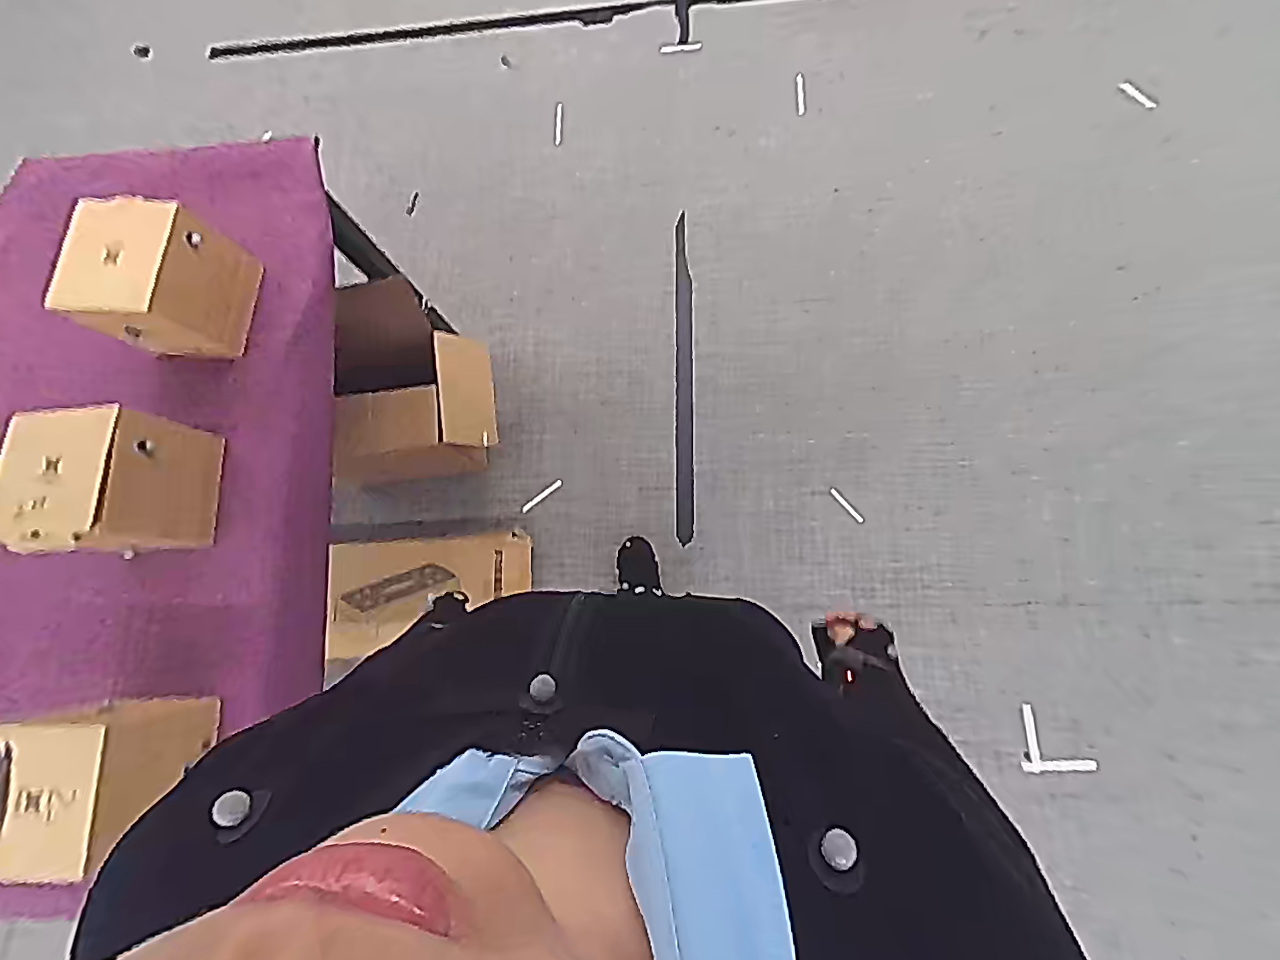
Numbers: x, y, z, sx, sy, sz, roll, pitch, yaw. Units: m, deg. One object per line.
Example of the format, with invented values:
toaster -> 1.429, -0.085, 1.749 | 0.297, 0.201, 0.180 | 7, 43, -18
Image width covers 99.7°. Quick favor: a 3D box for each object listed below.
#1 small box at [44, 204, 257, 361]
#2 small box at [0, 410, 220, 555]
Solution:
small box -> -0.747, -0.300, 0.847 | 0.168, 0.176, 0.179 | 3, 78, 6
small box -> -0.757, 0.012, 0.783 | 0.168, 0.176, 0.179 | -4, 78, 7
